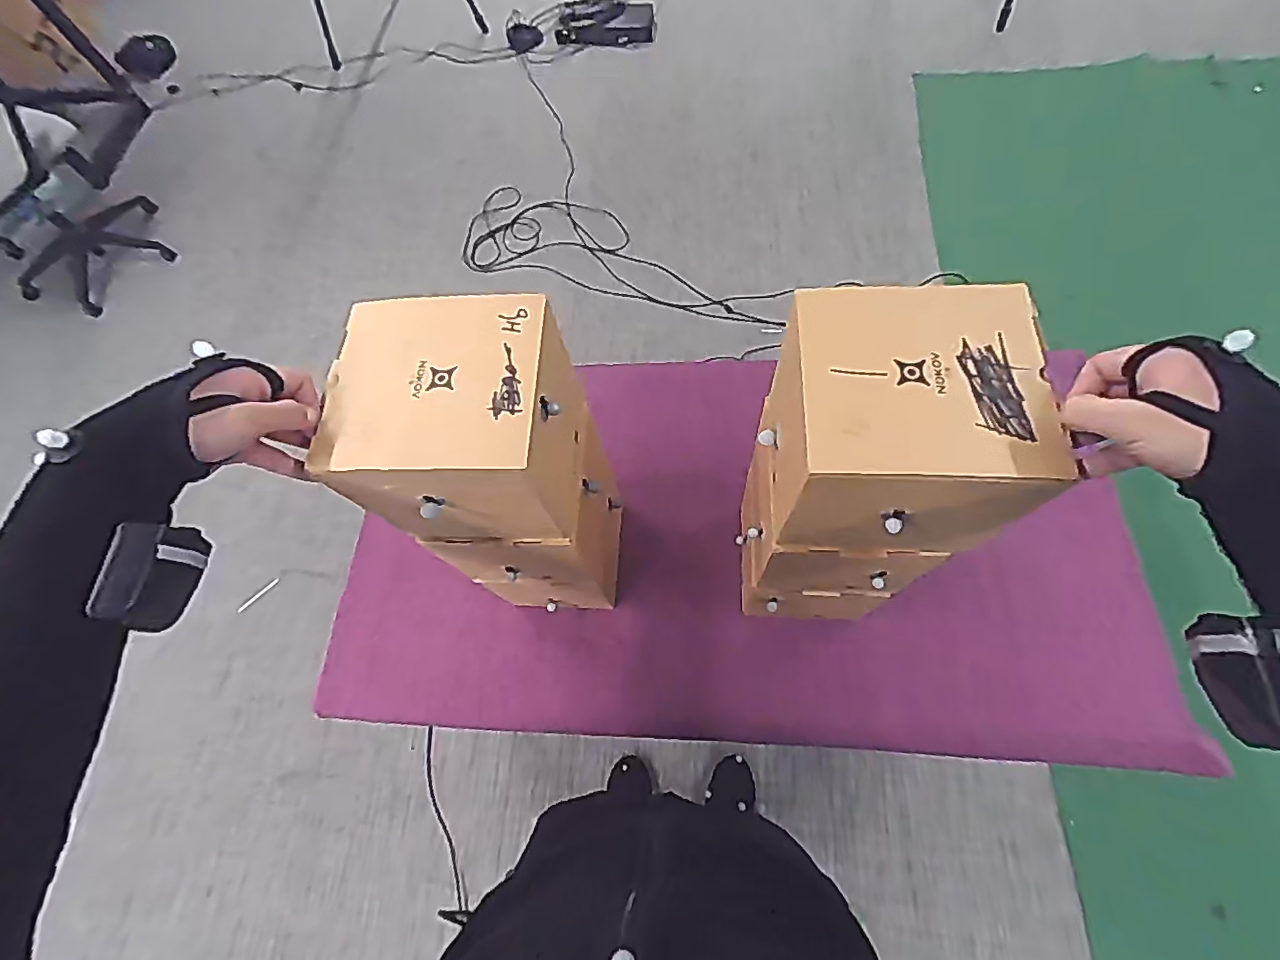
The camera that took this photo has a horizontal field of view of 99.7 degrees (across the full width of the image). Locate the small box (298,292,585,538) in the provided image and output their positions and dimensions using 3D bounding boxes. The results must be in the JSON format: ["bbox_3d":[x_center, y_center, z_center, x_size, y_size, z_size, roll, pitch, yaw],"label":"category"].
[{"bbox_3d":[-0.158,-0.048,0.497,0.179,0.176,0.168,0,66,6],"label":"small box"}]

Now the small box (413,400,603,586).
[{"bbox_3d":[-0.140,0.020,0.646,0.168,0.176,0.179,0,66,5],"label":"small box"}]

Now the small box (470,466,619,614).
[{"bbox_3d":[-0.126,0.089,0.792,0.168,0.176,0.179,1,66,7],"label":"small box"}]

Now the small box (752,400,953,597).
[{"bbox_3d":[0.217,0.028,0.605,0.168,0.176,0.179,1,65,6],"label":"small box"}]
